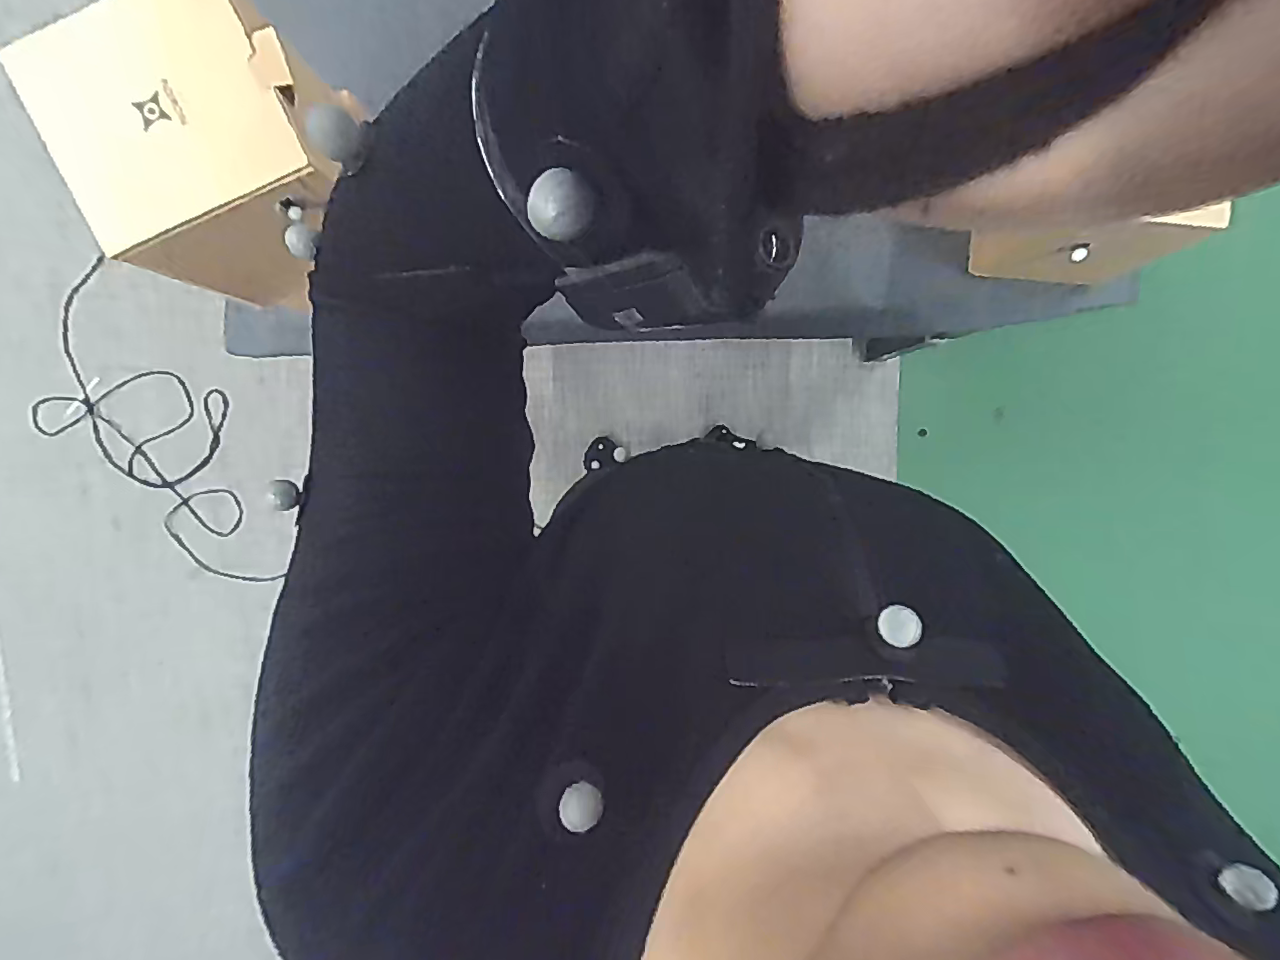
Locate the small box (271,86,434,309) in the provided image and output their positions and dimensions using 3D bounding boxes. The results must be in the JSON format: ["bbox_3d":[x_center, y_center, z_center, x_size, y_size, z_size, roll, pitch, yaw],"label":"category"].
[{"bbox_3d":[-0.363,-0.315,0.640,0.179,0.176,0.168,-12,96,1],"label":"small box"}]

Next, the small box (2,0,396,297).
[{"bbox_3d":[-0.359,-0.286,0.479,0.179,0.176,0.168,-25,95,1],"label":"small box"}]

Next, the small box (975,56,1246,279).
[{"bbox_3d":[0.533,-0.351,0.639,0.179,0.176,0.168,5,91,0],"label":"small box"}]

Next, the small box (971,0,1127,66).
[{"bbox_3d":[0.500,-0.638,0.618,0.168,0.176,0.179,-23,97,4],"label":"small box"}]
